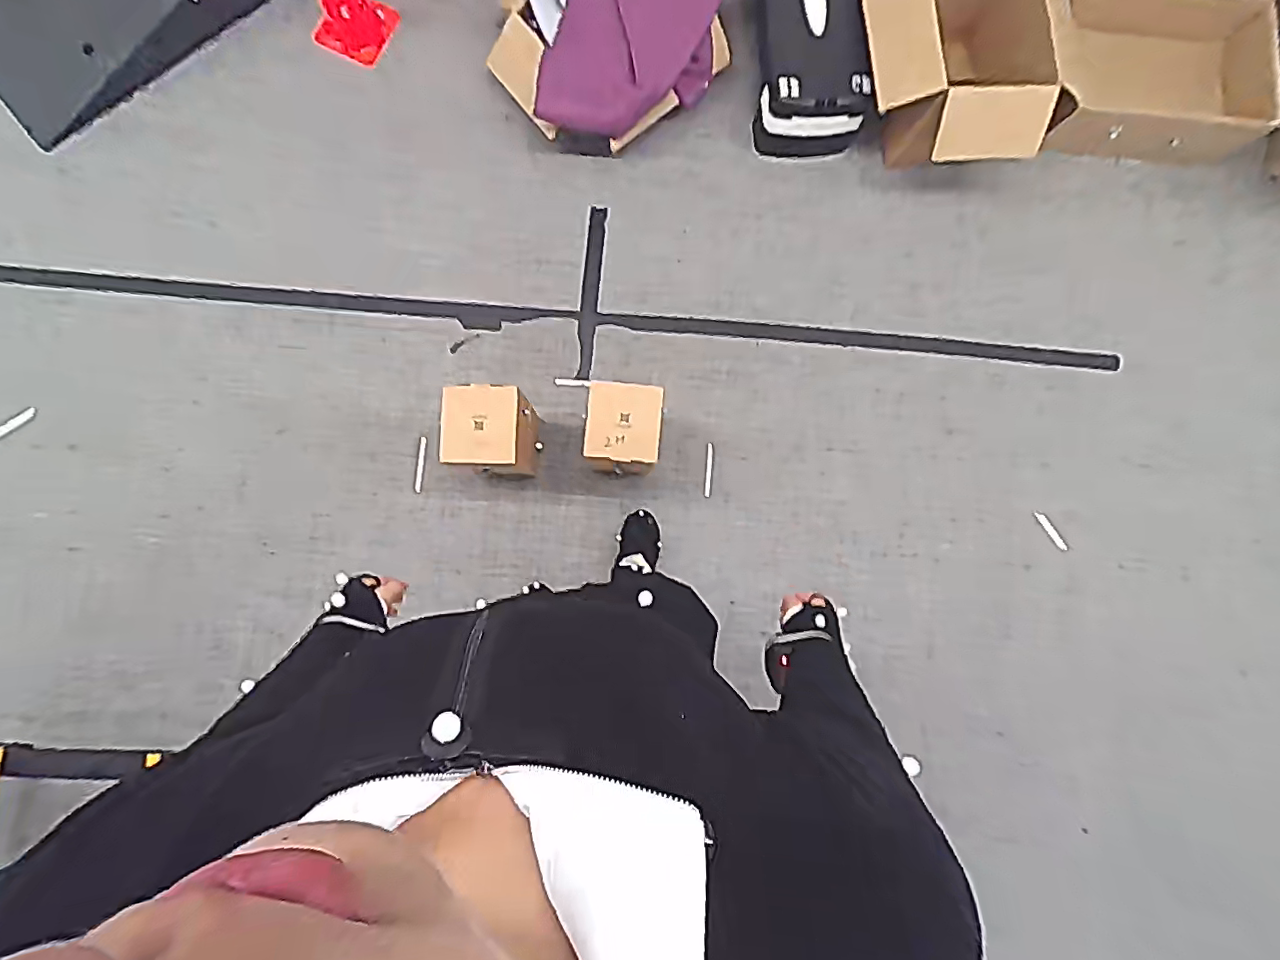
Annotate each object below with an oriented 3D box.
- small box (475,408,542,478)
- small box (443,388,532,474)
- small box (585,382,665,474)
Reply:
[{"bbox_3d":[-0.363,-0.097,1.431,0.179,0.176,0.168,3,84,-3],"label":"small box"},{"bbox_3d":[-0.351,-0.110,1.269,0.168,0.176,0.179,0,86,-1],"label":"small box"},{"bbox_3d":[-0.039,-0.117,1.284,0.168,0.176,0.179,6,85,-2],"label":"small box"}]
